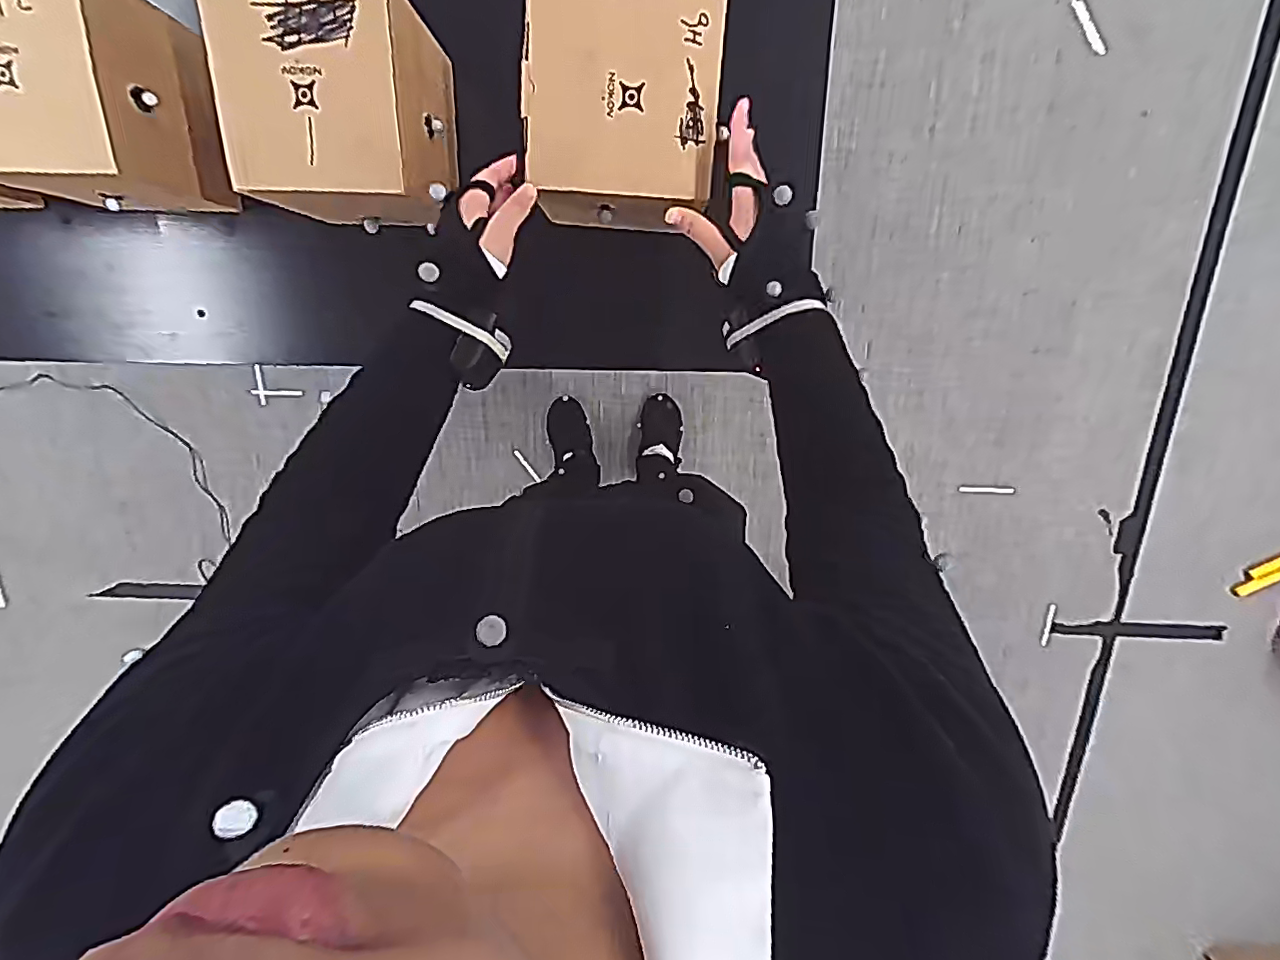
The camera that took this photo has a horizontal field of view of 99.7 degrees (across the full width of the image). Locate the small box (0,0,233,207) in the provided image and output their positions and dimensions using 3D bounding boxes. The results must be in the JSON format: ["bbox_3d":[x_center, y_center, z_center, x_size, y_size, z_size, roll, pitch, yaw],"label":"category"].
[{"bbox_3d":[-0.563,-0.391,0.554,0.168,0.176,0.179,1,105,-1],"label":"small box"}]

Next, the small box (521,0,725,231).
[{"bbox_3d":[-0.017,-0.366,0.563,0.179,0.176,0.168,4,105,0],"label":"small box"}]

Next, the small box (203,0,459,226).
[{"bbox_3d":[-0.298,-0.376,0.560,0.168,0.176,0.179,1,106,0],"label":"small box"}]
